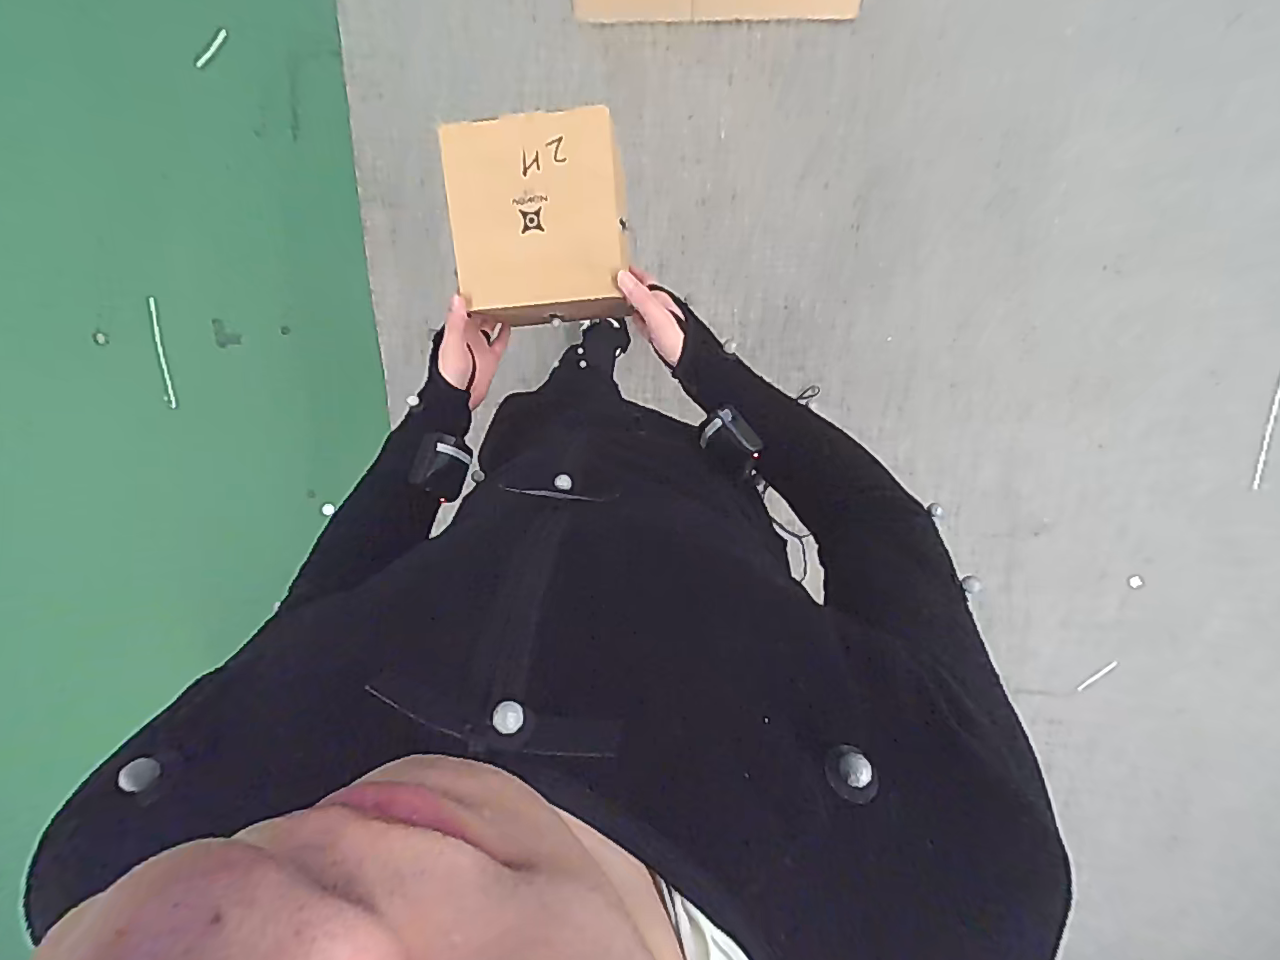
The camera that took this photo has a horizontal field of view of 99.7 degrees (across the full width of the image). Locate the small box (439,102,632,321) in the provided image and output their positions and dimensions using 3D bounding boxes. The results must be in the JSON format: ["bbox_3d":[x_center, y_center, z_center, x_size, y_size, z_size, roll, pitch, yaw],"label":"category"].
[{"bbox_3d":[-0.099,-0.274,0.598,0.168,0.176,0.179,-3,99,4],"label":"small box"}]
